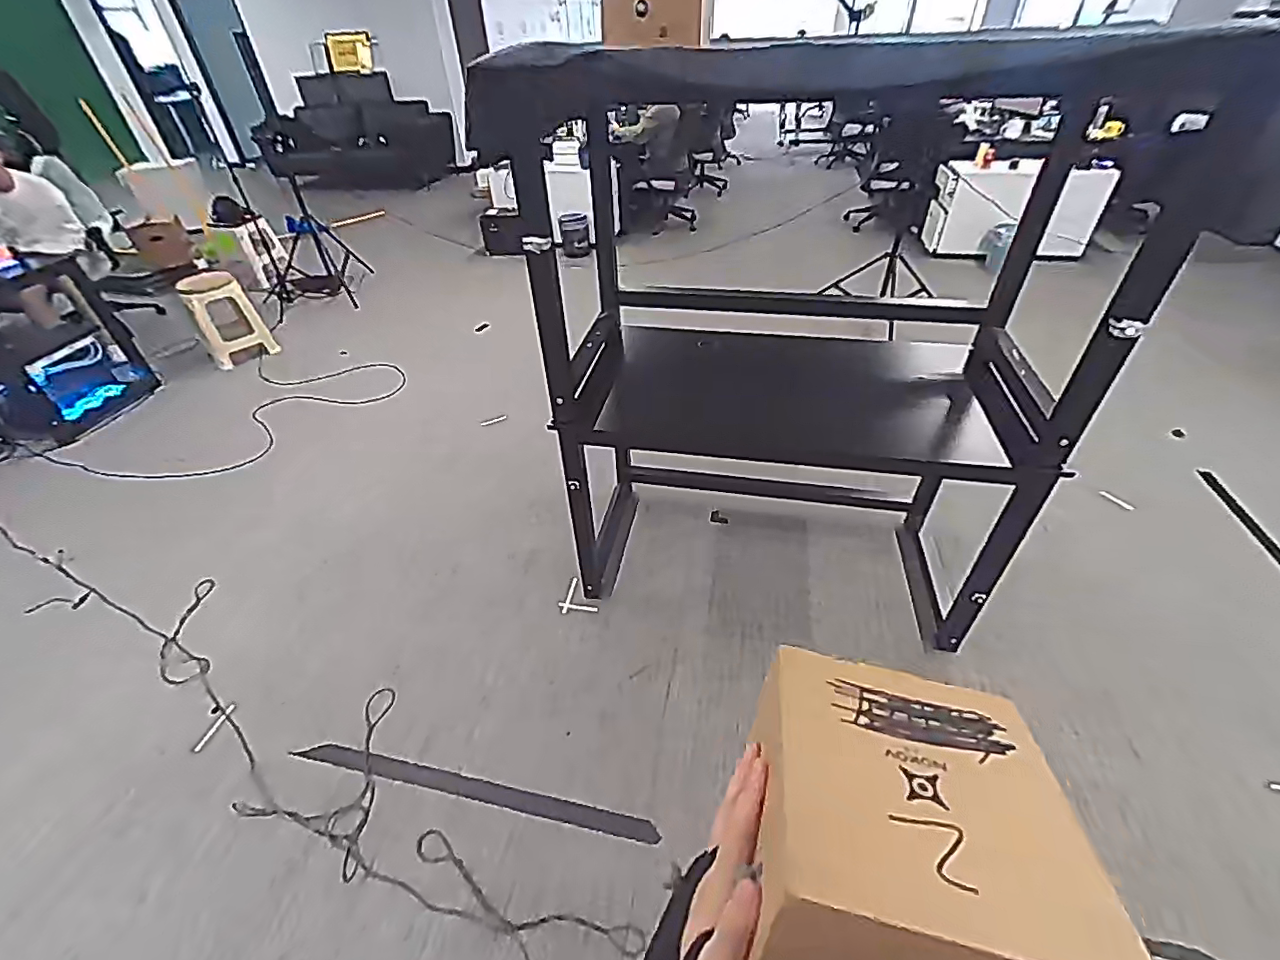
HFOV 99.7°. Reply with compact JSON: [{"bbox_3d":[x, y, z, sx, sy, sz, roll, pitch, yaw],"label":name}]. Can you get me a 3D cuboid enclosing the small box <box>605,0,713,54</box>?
[{"bbox_3d":[0.035,-0.823,0.901,0.168,0.176,0.179,6,40,8],"label":"small box"}]
